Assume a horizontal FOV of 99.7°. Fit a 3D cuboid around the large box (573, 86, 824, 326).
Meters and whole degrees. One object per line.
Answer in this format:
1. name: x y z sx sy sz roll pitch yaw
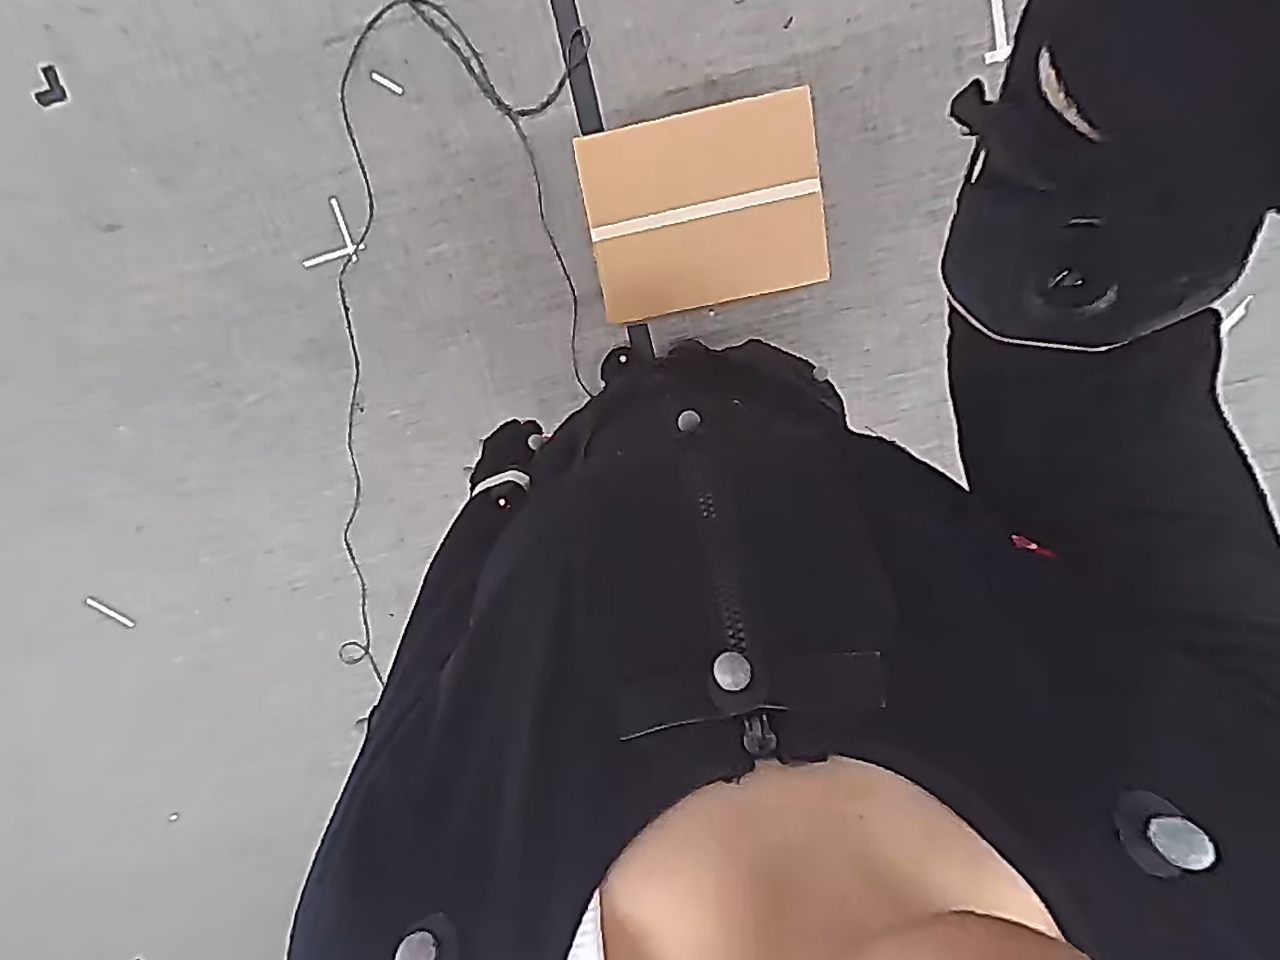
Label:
1. large box: 0.109 -0.509 1.091 0.408 0.320 0.320 -11 105 4
